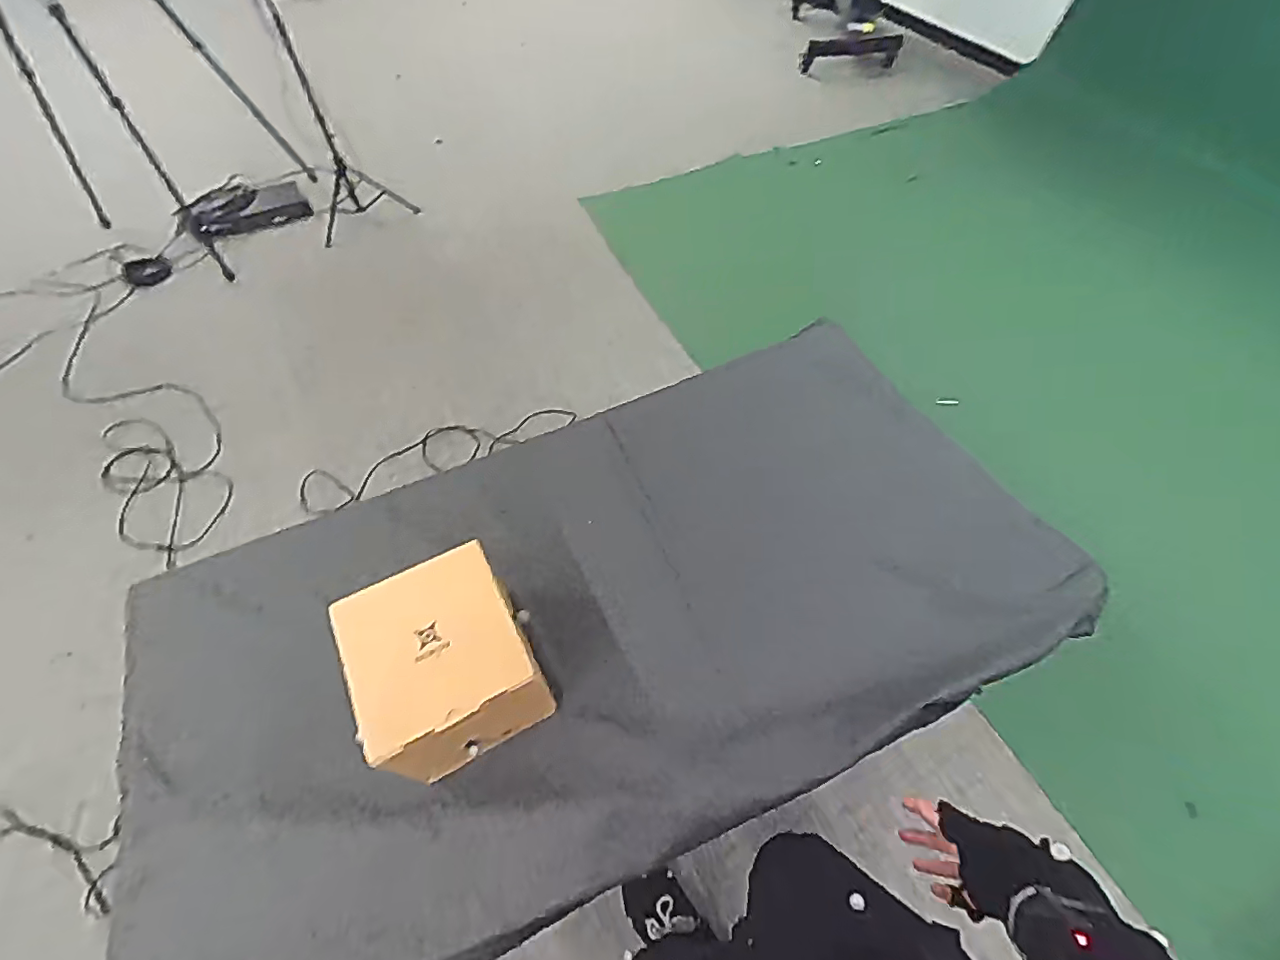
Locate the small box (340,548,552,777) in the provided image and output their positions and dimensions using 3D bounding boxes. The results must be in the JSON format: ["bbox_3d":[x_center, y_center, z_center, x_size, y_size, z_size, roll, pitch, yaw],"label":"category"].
[{"bbox_3d":[-0.215,0.216,0.631,0.168,0.176,0.179,-25,60,-17],"label":"small box"}]
